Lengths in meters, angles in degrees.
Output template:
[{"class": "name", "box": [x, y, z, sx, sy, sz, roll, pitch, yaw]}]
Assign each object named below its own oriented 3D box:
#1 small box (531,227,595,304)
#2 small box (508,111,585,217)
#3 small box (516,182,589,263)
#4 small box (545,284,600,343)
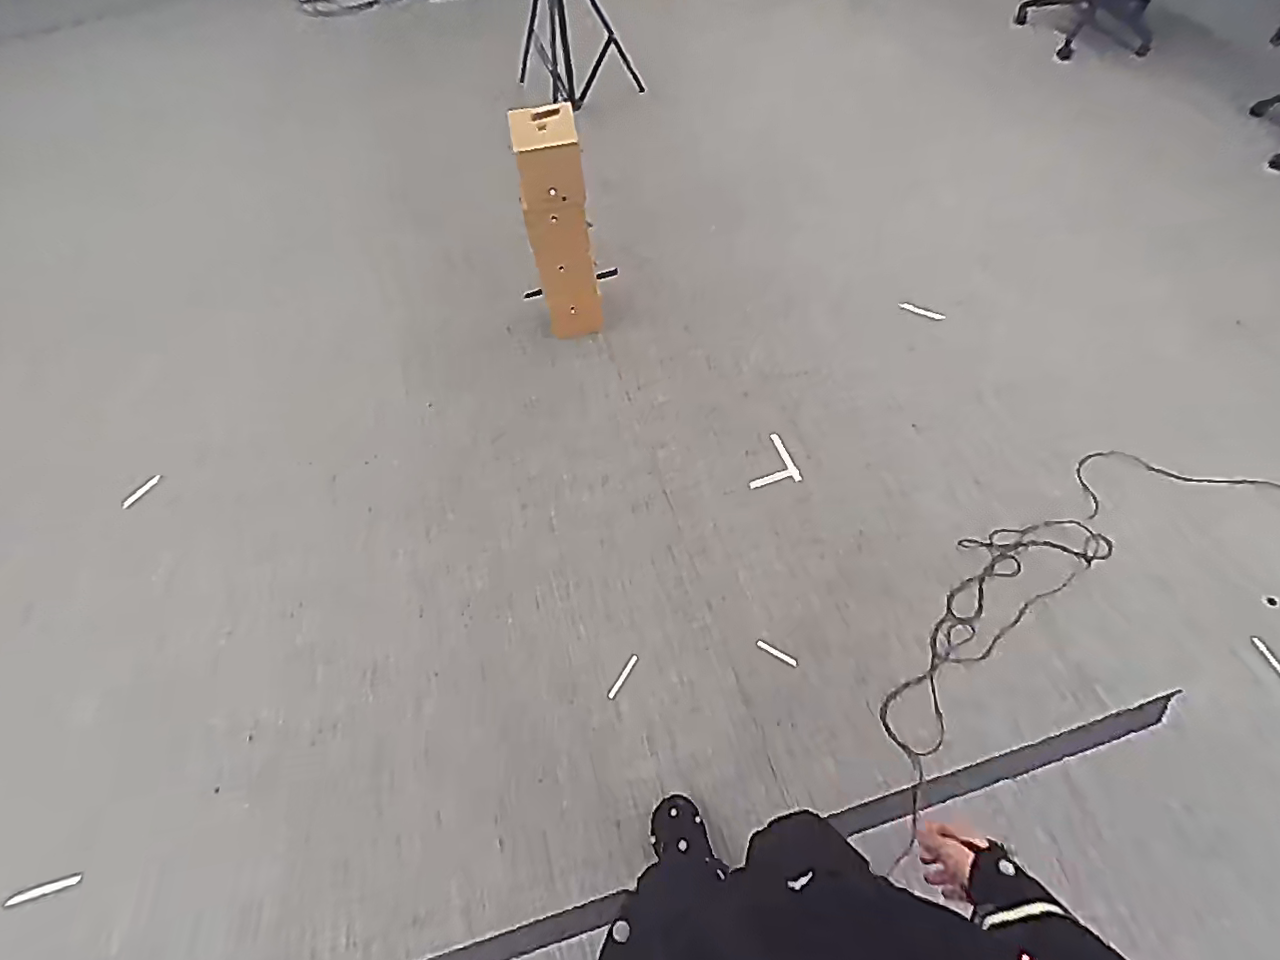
[{"class": "small box", "box": [-0.244, -0.683, 1.728, 0.179, 0.176, 0.168, -8, 63, -1]}, {"class": "small box", "box": [-0.247, -0.838, 1.441, 0.168, 0.176, 0.179, -11, 64, -2]}, {"class": "small box", "box": [-0.253, -0.764, 1.588, 0.179, 0.176, 0.168, -10, 64, -3]}, {"class": "small box", "box": [-0.235, -0.600, 1.870, 0.179, 0.176, 0.168, -10, 63, -3]}]
